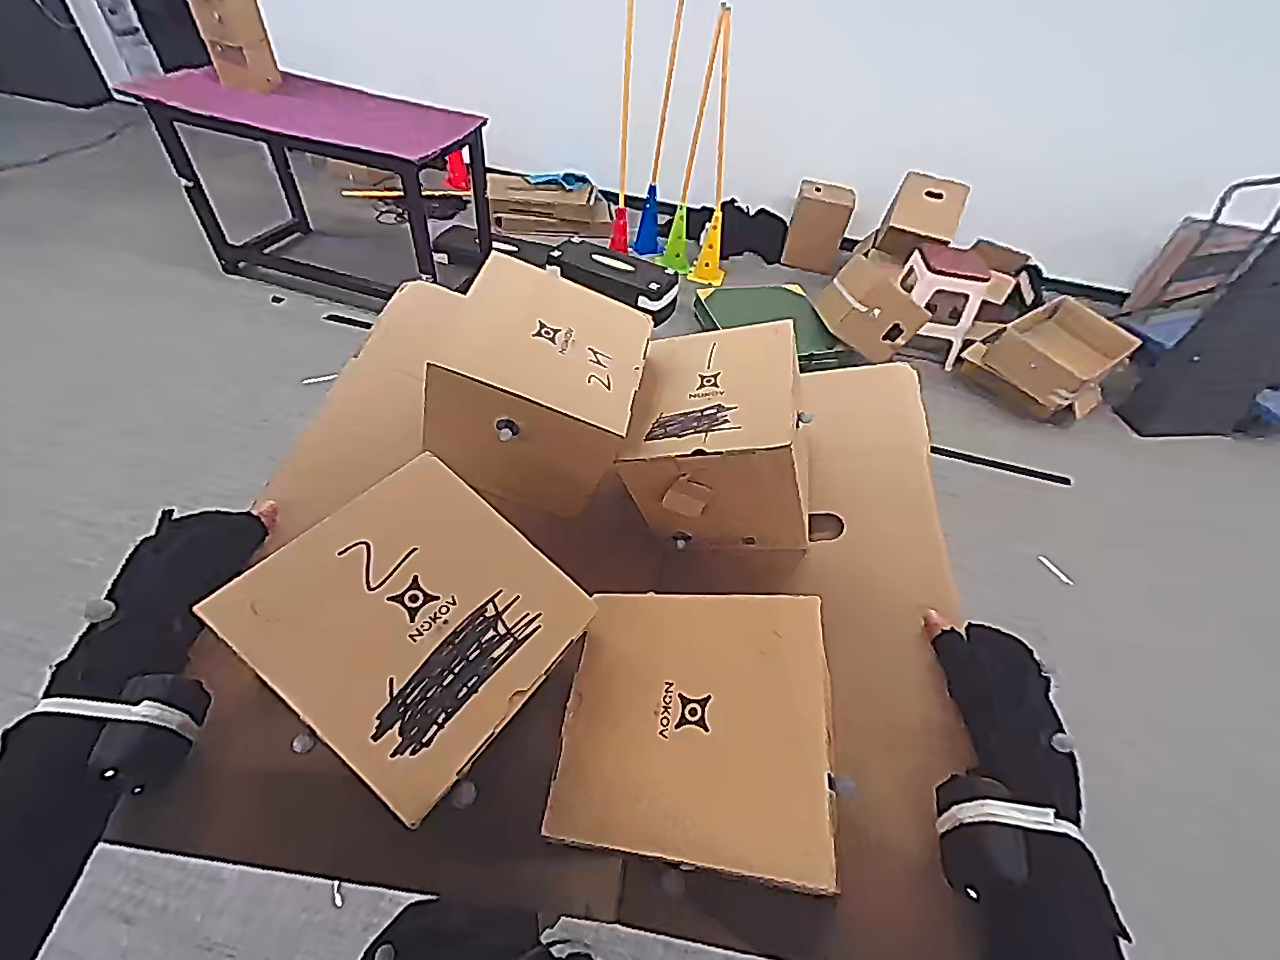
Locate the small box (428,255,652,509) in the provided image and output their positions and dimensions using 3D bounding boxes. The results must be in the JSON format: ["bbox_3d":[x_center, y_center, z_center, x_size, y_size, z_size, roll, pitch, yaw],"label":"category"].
[{"bbox_3d":[-0.109,-0.092,0.571,0.179,0.176,0.168,21,54,-11],"label":"small box"}]
